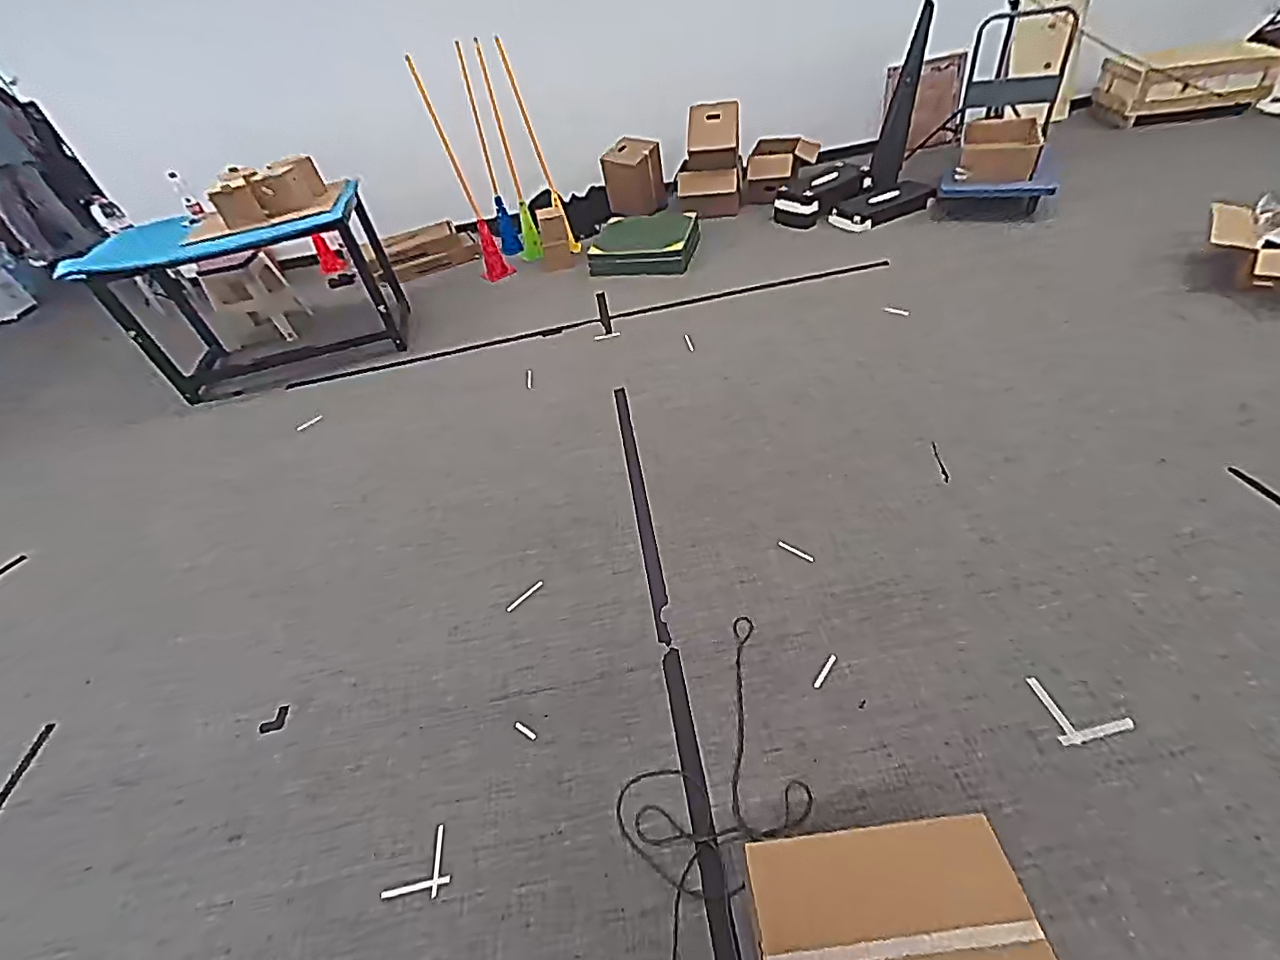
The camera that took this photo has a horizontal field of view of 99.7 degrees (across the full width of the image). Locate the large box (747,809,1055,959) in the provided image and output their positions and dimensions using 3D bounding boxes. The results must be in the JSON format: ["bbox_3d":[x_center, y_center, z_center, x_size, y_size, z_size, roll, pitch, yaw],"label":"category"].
[{"bbox_3d":[0.412,0.796,0.903,0.408,0.320,0.320,-9,44,2],"label":"large box"}]
